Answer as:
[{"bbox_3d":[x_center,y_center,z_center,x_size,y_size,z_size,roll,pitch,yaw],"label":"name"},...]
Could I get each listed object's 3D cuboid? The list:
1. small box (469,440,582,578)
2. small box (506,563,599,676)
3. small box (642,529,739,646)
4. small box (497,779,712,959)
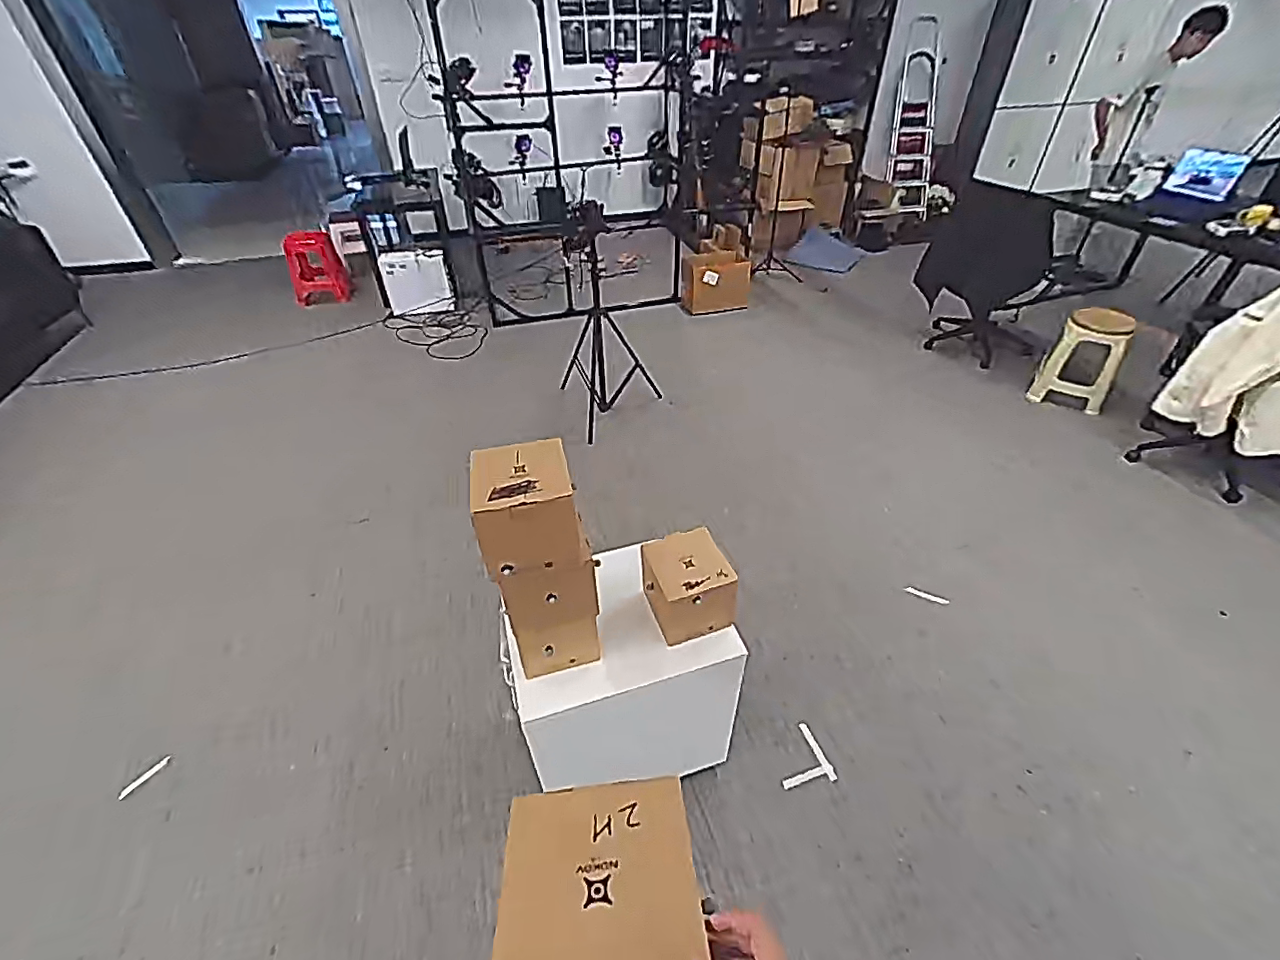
[{"bbox_3d":[-0.202,0.056,0.967,0.168,0.176,0.179,-10,39,-10],"label":"small box"},{"bbox_3d":[-0.189,0.304,1.183,0.168,0.176,0.179,-12,40,-12],"label":"small box"},{"bbox_3d":[0.109,0.245,1.239,0.168,0.176,0.179,-15,41,-13],"label":"small box"},{"bbox_3d":[-0.026,0.410,0.485,0.168,0.176,0.179,-4,24,-4],"label":"small box"}]
